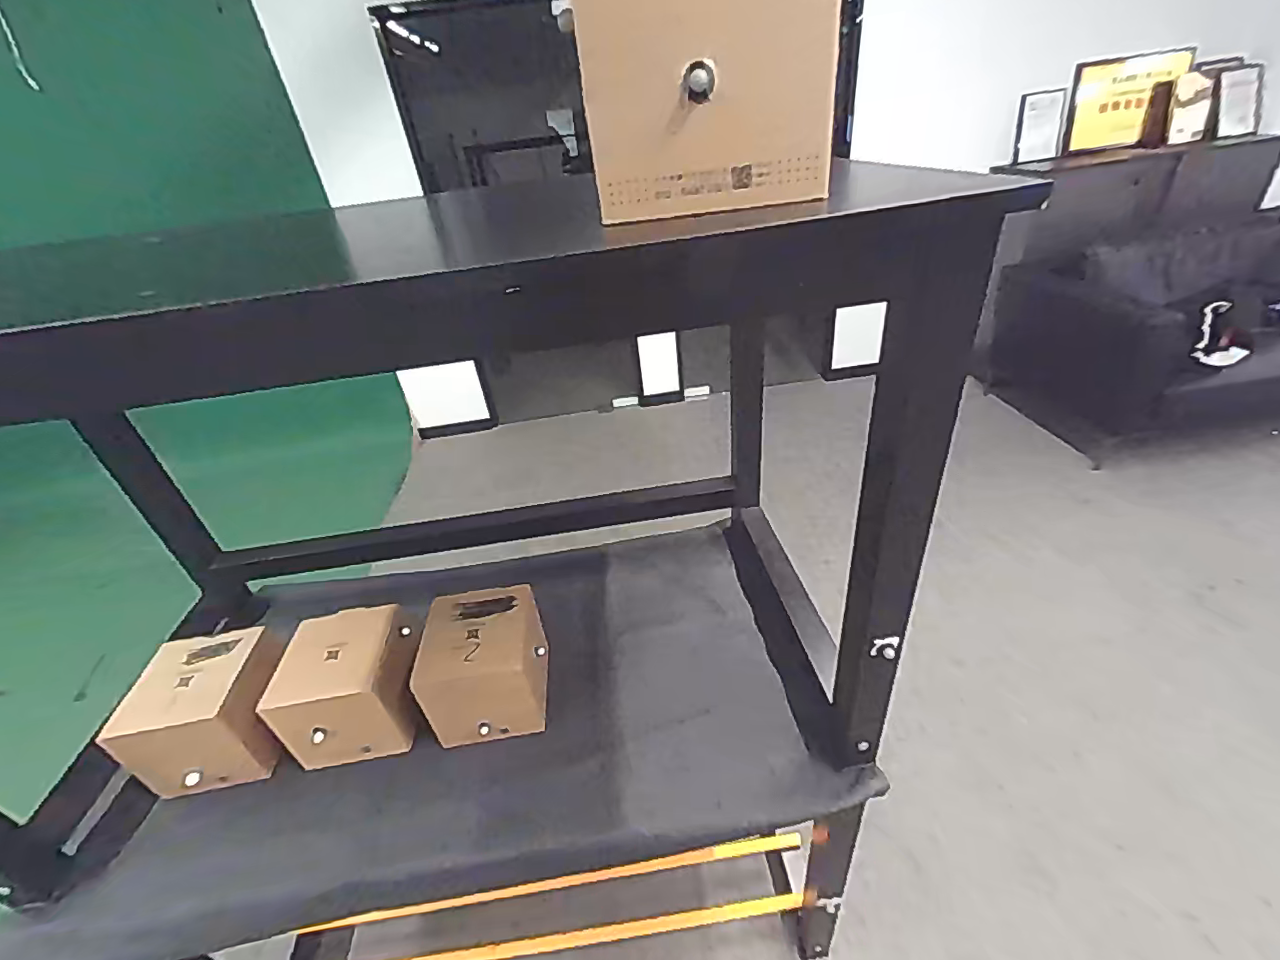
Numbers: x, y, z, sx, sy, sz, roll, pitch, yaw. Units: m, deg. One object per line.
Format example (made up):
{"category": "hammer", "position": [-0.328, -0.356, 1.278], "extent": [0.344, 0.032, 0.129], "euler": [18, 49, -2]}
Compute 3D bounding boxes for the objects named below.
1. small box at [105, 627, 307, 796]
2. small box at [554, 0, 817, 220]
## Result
{"category": "small box", "position": [-0.679, 0.373, 0.879], "extent": [0.168, 0.176, 0.179], "euler": [-10, 34, -3]}
{"category": "small box", "position": [0.040, -0.309, 0.422], "extent": [0.168, 0.176, 0.179], "euler": [-3, 33, 7]}
